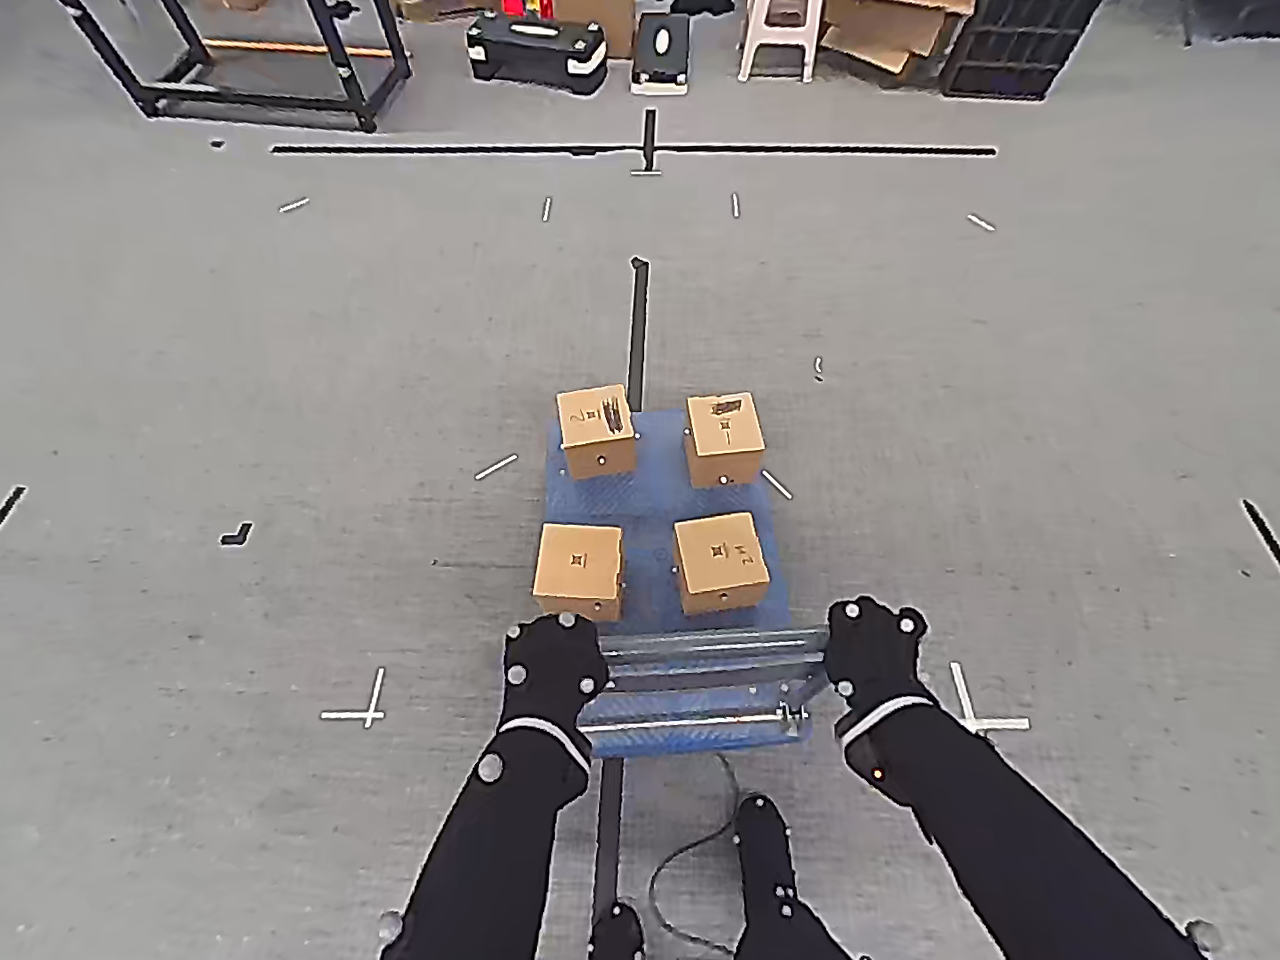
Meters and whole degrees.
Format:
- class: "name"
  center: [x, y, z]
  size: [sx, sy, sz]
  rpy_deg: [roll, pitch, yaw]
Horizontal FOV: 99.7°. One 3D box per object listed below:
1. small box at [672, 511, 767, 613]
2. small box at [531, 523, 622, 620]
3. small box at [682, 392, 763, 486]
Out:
- class: "small box"
  center: [0.171, 0.190, 1.224]
  size: [0.179, 0.176, 0.168]
  rpy_deg: [-8, 61, -4]
- class: "small box"
  center: [-0.134, 0.210, 1.217]
  size: [0.179, 0.176, 0.168]
  rpy_deg: [3, 60, 0]
- class: "small box"
  center: [0.204, -0.103, 1.390]
  size: [0.168, 0.176, 0.179]
  rpy_deg: [-6, 61, -3]
